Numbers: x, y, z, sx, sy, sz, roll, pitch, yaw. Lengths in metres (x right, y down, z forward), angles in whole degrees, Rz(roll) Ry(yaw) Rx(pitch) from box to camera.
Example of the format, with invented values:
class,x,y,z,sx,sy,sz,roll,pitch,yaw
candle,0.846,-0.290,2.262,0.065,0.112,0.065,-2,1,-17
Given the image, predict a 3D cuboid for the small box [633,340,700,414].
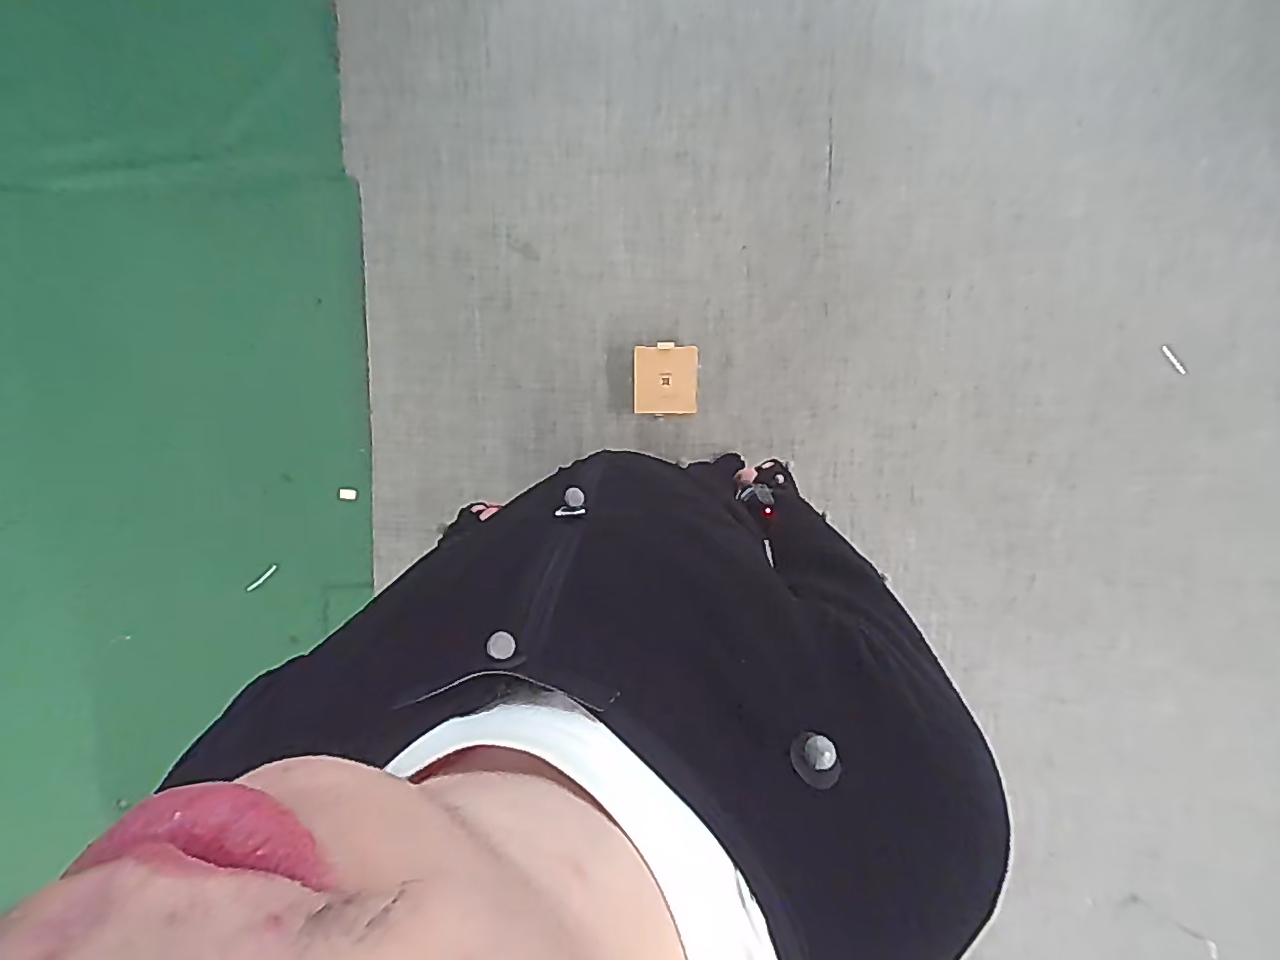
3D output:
class,x,y,z,sx,sy,sz,roll,pitch,yaw
small box,0.071,-0.273,1.458,0.168,0.176,0.179,2,95,4
